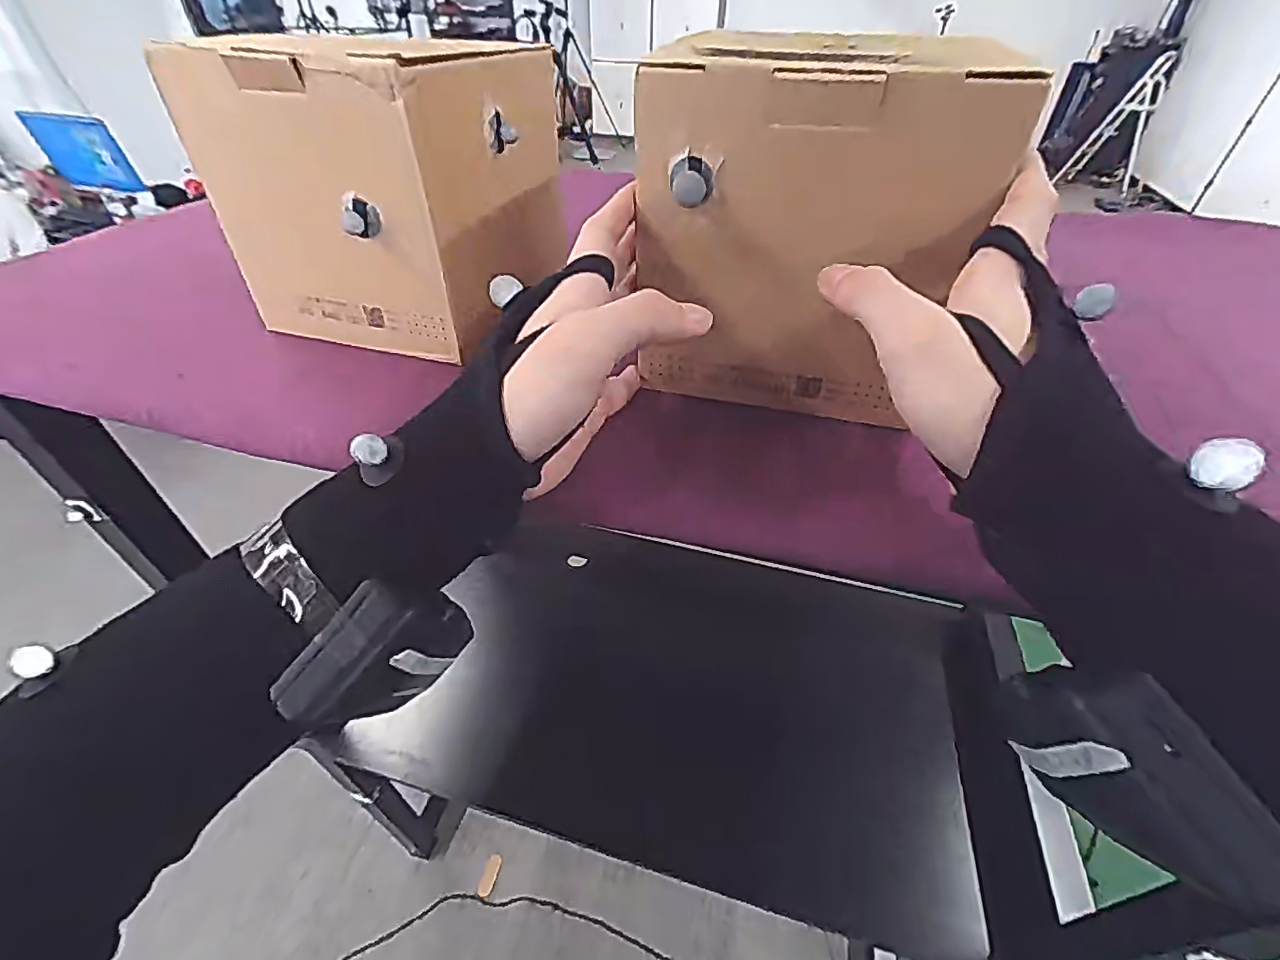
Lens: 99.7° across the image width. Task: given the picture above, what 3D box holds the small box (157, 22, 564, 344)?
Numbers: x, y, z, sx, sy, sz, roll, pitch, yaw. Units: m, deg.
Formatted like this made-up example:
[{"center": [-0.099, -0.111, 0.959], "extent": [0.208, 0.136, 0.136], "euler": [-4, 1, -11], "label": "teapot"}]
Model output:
[{"center": [-0.162, -0.215, 0.387], "extent": [0.168, 0.176, 0.179], "euler": [14, 42, 13], "label": "small box"}]
